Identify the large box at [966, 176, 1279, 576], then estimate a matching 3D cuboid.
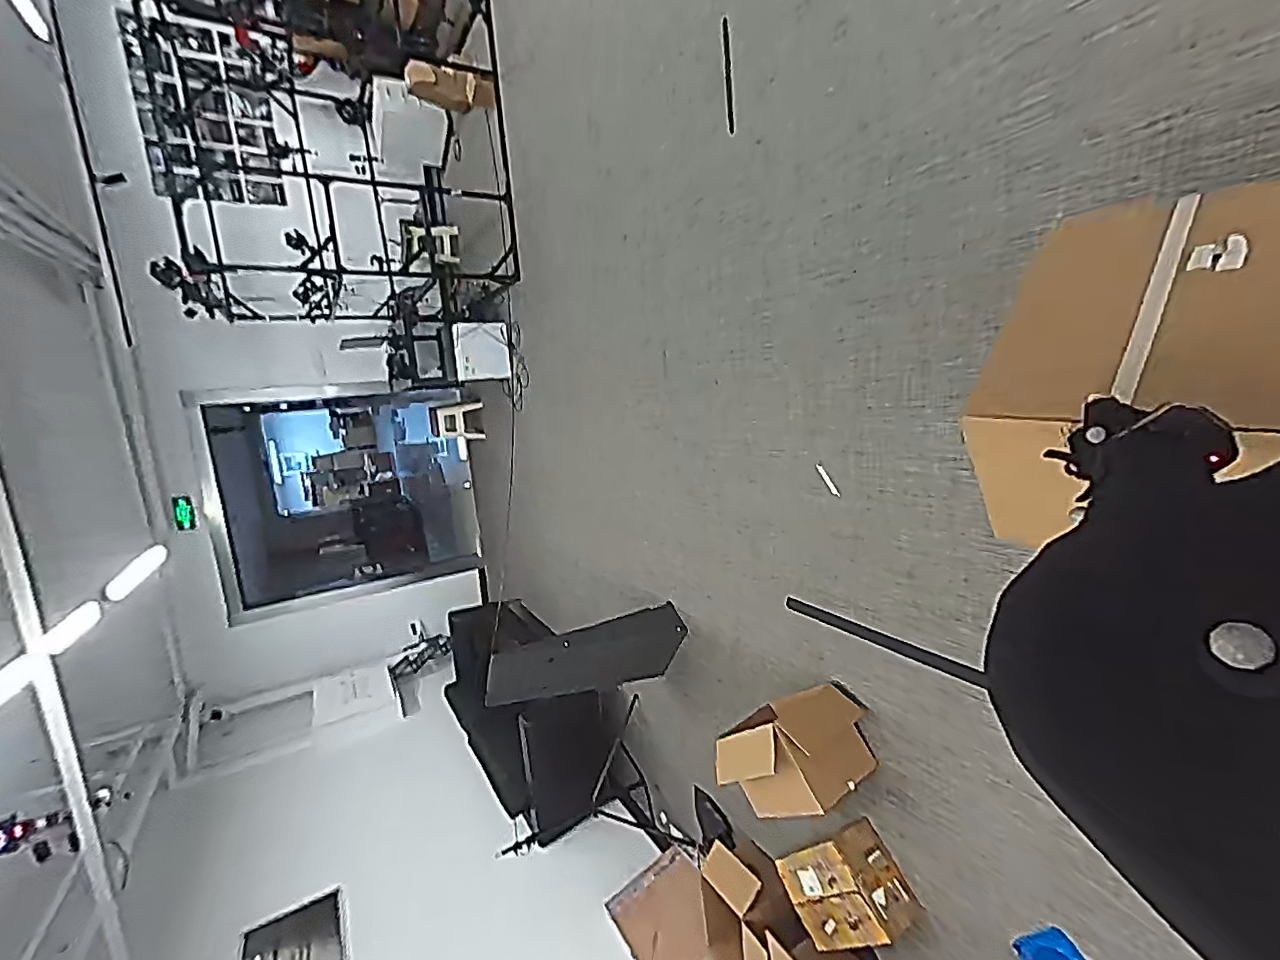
[{"bbox_3d":[0.719,-0.138,0.756,0.320,0.408,0.320,14,154,49],"label":"large box"}]
